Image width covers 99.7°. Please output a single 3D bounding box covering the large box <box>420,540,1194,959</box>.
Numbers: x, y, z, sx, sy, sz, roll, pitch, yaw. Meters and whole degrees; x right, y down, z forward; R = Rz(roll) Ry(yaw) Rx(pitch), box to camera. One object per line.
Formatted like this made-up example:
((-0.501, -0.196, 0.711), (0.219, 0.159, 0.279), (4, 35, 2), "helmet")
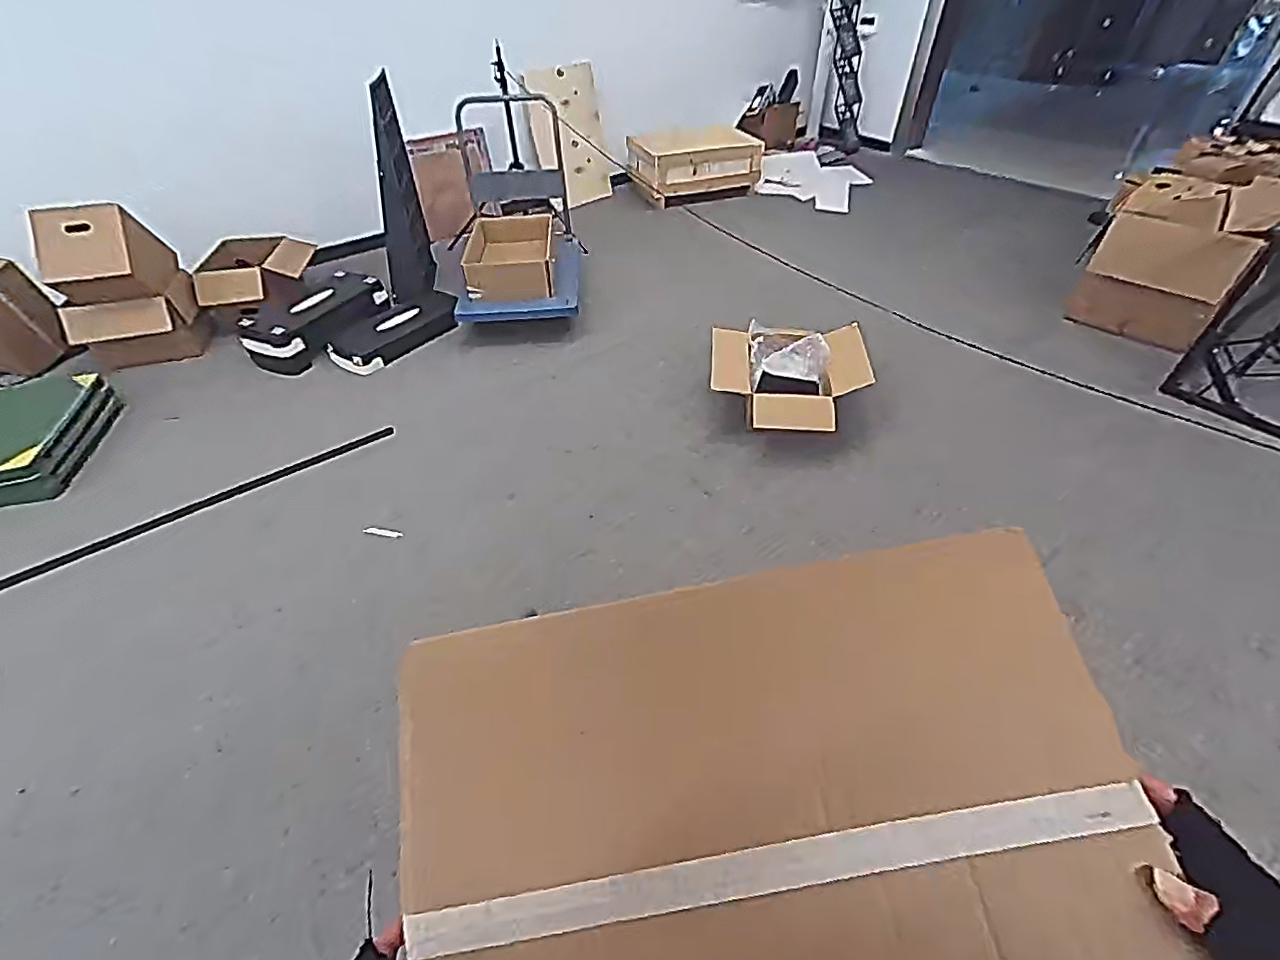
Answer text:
((0.086, 0.271, 0.441), (0.408, 0.320, 0.320), (-11, 70, 1), "large box")
